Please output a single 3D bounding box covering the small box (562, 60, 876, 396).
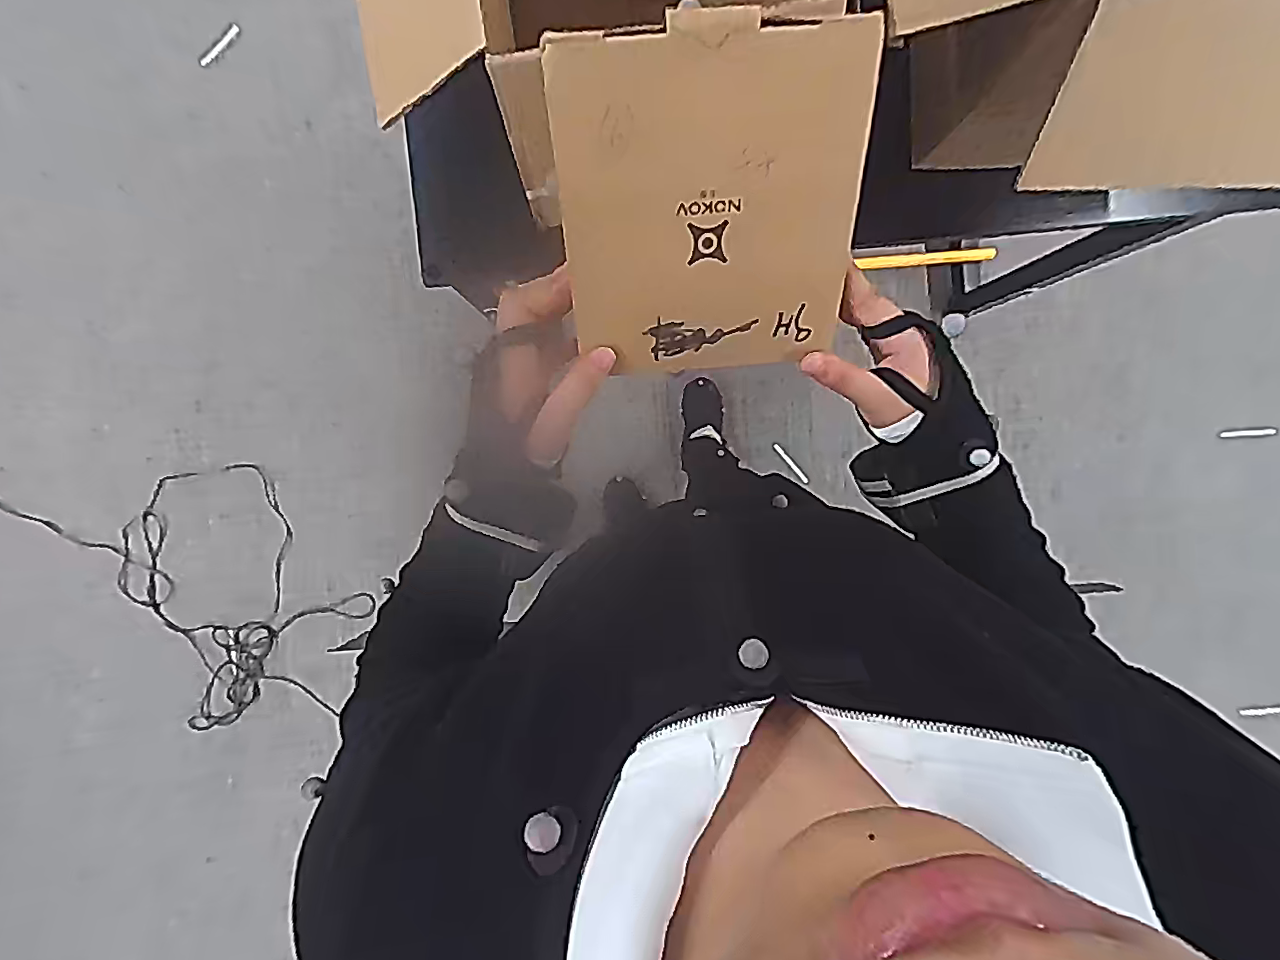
[{"bbox_3d":[0.038,-0.180,0.384,0.168,0.176,0.179,-5,127,-1],"label":"small box"}]
